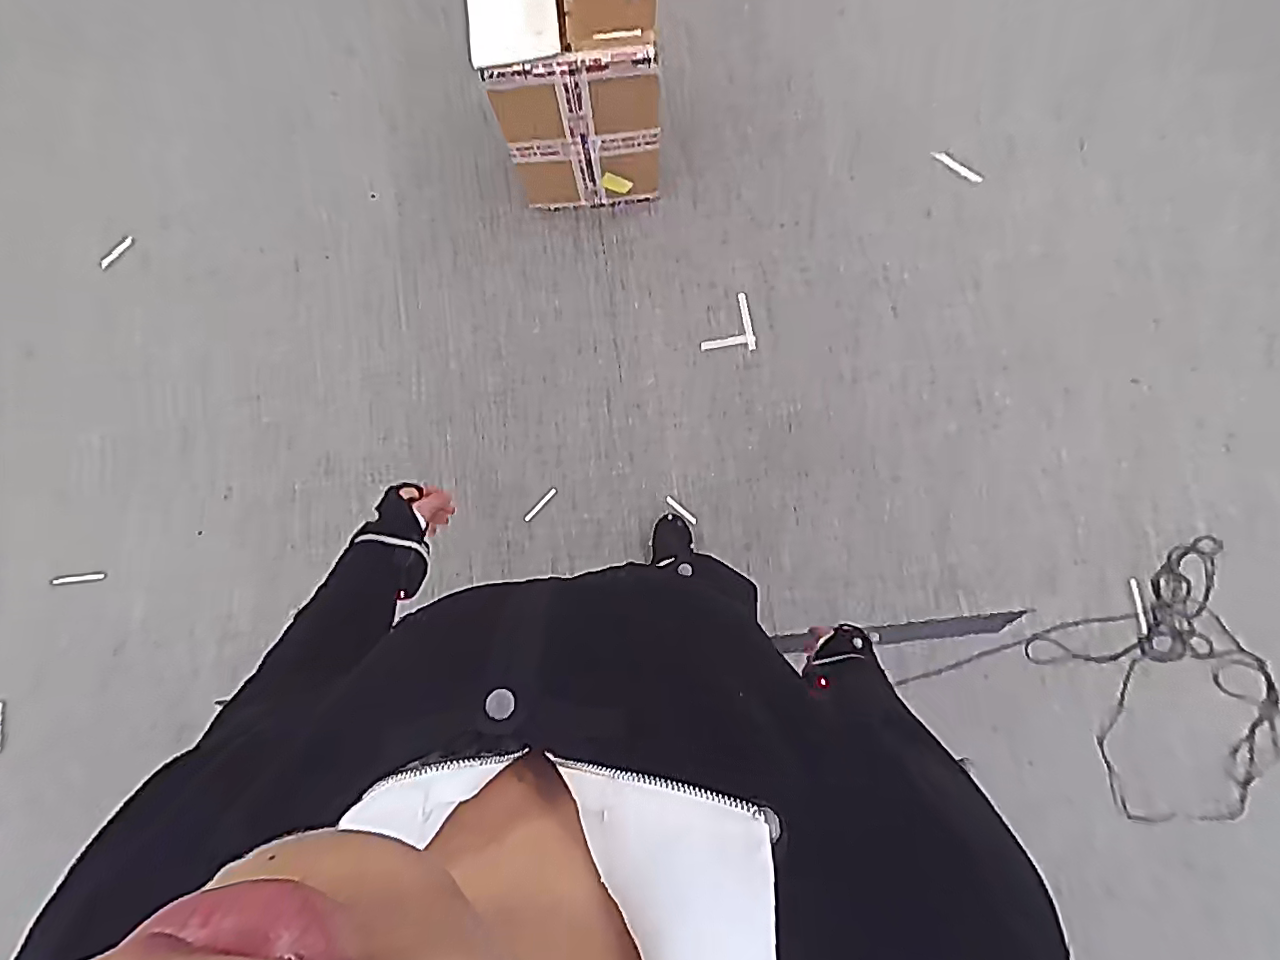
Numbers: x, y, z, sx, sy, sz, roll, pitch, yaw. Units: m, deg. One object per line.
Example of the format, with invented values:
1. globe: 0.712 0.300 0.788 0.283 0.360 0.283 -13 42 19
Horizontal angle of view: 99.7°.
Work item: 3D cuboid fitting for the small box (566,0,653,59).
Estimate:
1. small box: -0.068 -1.020 1.115 0.179 0.176 0.168 -8 83 0
